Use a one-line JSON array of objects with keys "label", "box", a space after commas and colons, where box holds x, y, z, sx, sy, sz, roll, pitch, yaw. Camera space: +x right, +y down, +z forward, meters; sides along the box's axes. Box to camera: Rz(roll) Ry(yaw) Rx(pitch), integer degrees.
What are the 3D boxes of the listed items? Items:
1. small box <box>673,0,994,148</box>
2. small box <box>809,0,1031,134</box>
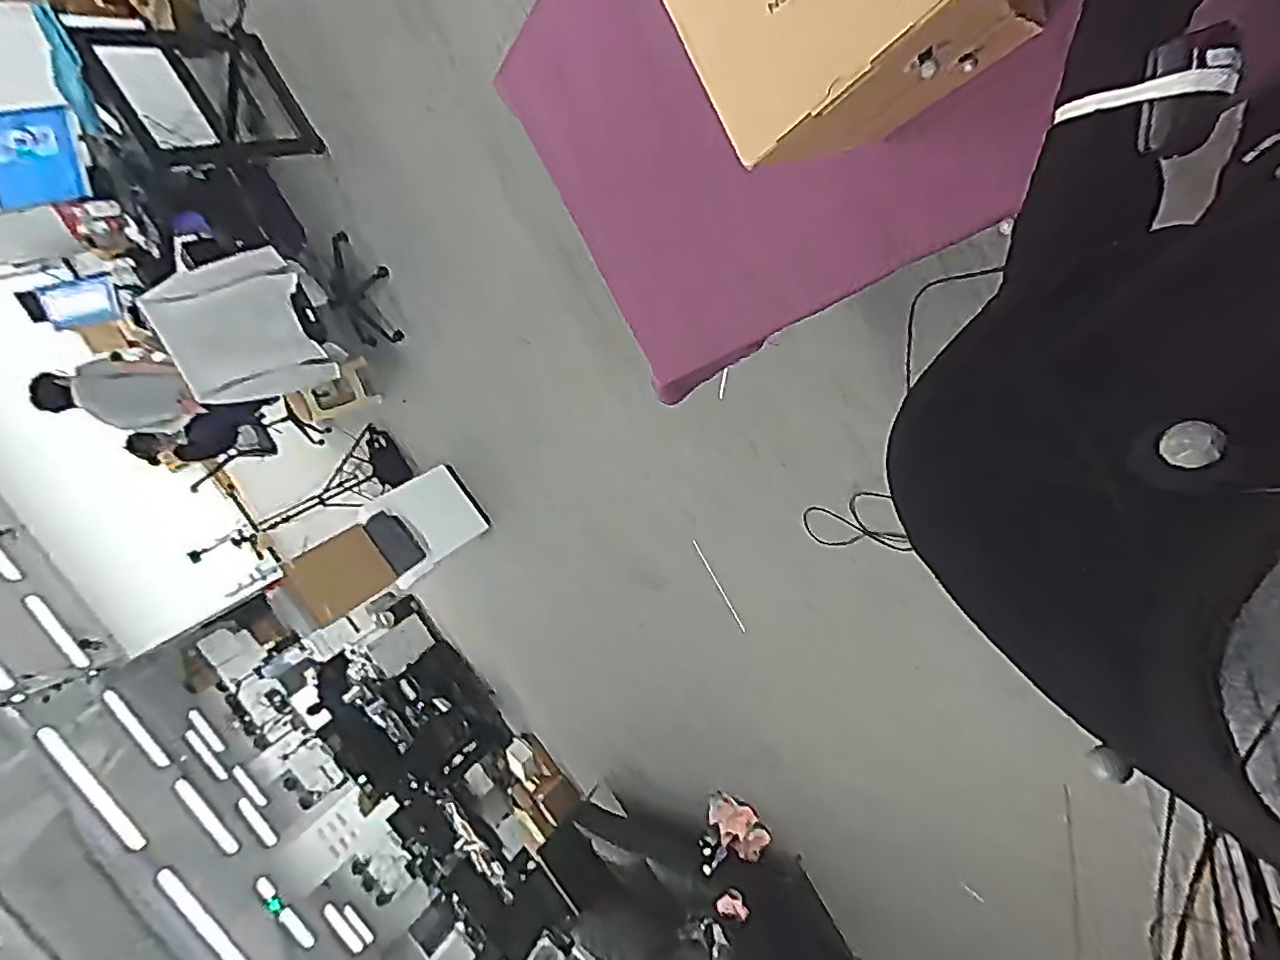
[{"label": "small box", "box": [0.141, -0.388, 0.403, 0.168, 0.176, 0.179, -19, 103, 49]}, {"label": "small box", "box": [0.238, -0.463, 0.510, 0.179, 0.176, 0.168, -17, 105, 49]}]
